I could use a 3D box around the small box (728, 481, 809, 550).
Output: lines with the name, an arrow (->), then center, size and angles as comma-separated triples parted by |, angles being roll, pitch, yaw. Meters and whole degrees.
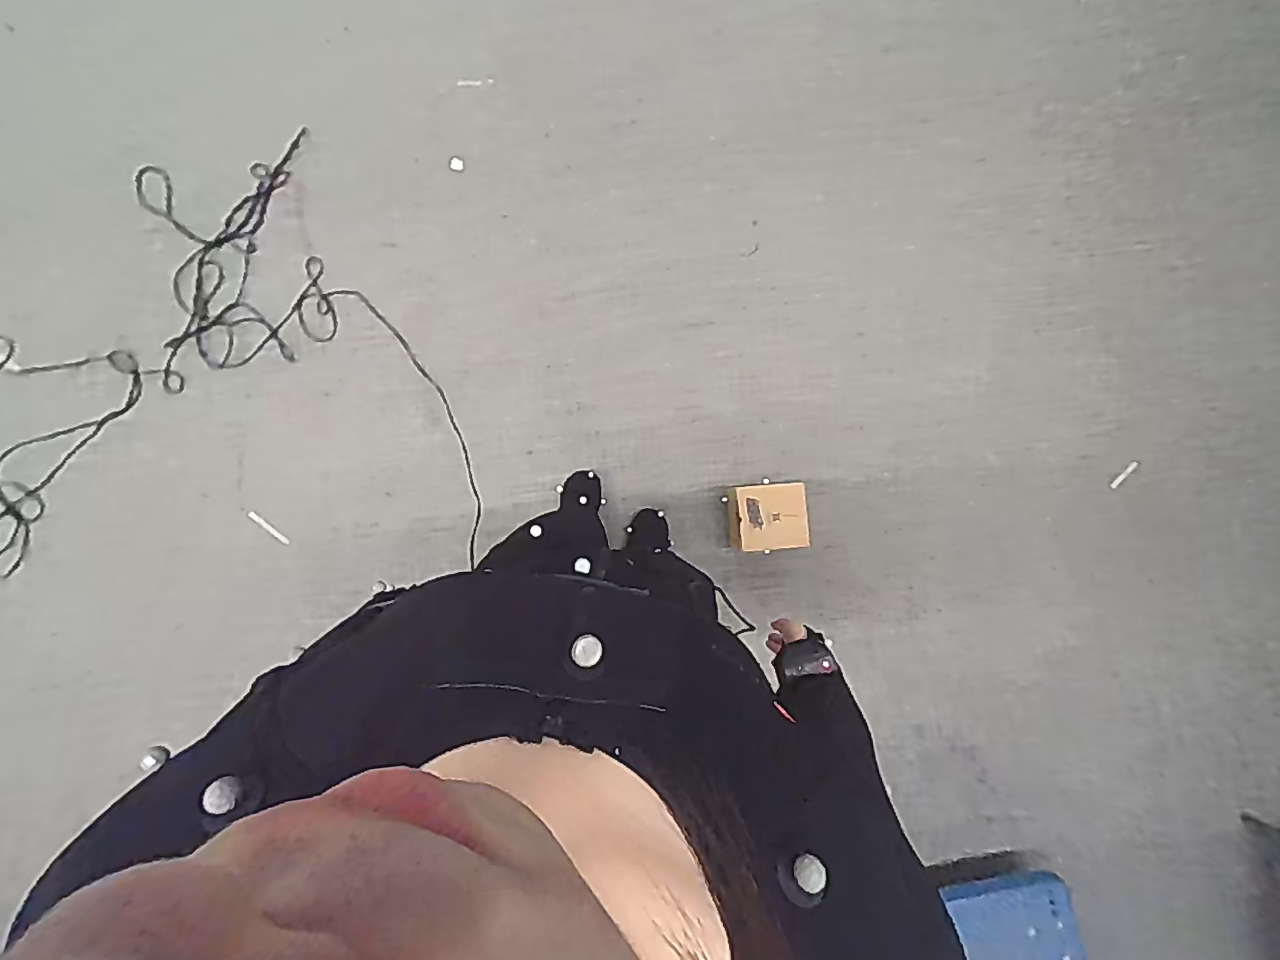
small box -> 0.332, 0.092, 1.437 | 0.179, 0.176, 0.168 | -4, 89, -1
